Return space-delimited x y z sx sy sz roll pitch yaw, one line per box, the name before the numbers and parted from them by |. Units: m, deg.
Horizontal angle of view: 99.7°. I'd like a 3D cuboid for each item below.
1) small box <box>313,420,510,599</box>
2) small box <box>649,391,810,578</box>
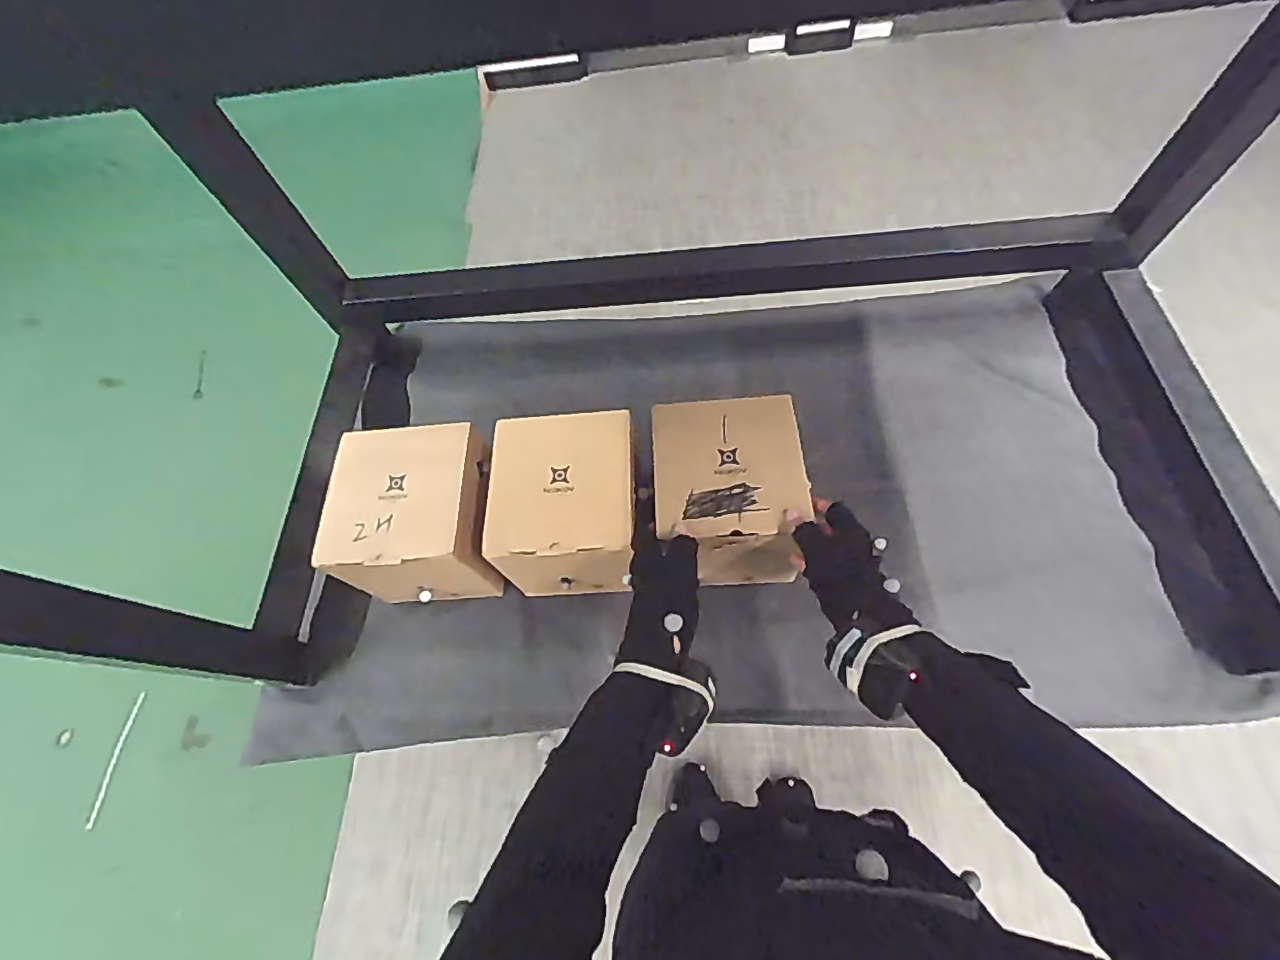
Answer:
small box | -0.275 0.045 0.699 0.168 0.176 0.179 -5 63 5
small box | 0.102 0.015 0.663 0.168 0.176 0.179 -4 61 5
